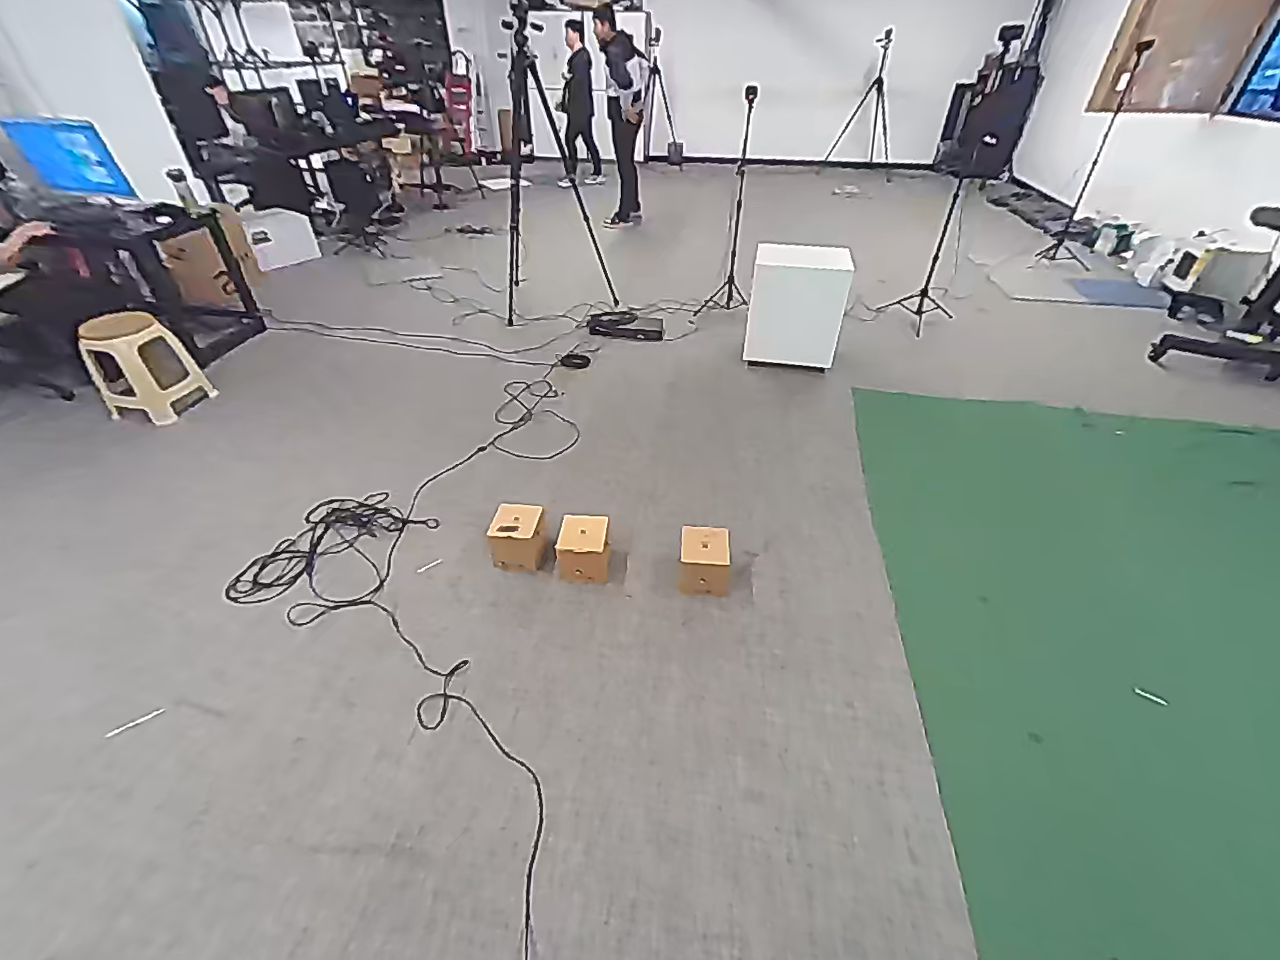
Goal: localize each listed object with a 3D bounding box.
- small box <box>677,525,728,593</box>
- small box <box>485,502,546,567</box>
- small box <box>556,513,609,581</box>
[{"bbox_3d":[0.219,0.282,1.912,0.168,0.176,0.179,4,40,3],"label":"small box"},{"bbox_3d":[-0.452,0.203,1.999,0.168,0.176,0.179,5,39,5],"label":"small box"},{"bbox_3d":[-0.203,0.242,1.955,0.168,0.176,0.179,2,40,3],"label":"small box"}]
